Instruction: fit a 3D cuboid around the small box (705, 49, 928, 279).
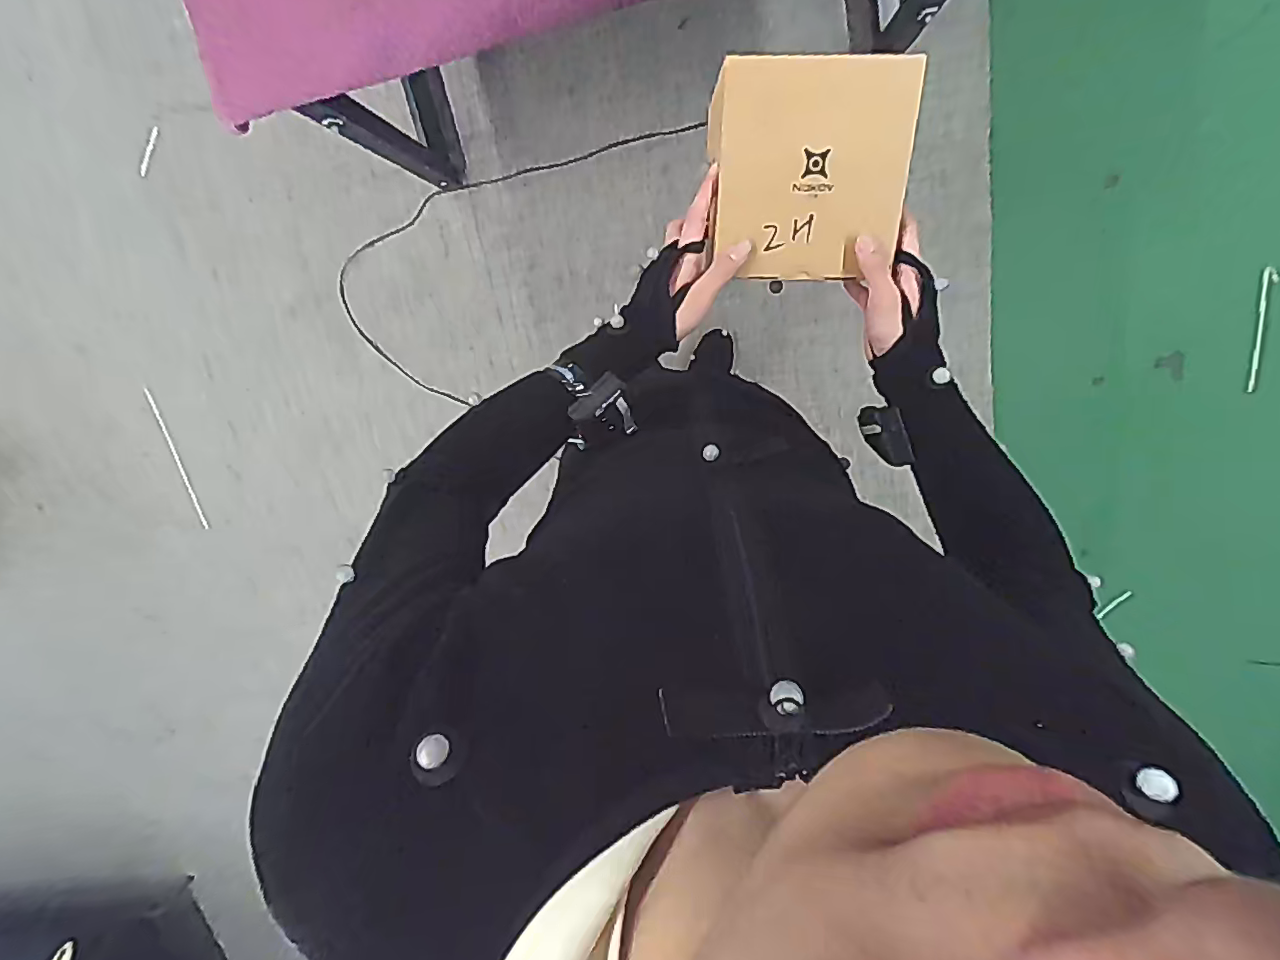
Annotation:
[{"bbox_3d":[0.156,-0.299,0.547,0.168,0.176,0.179,2,112,2],"label":"small box"}]
